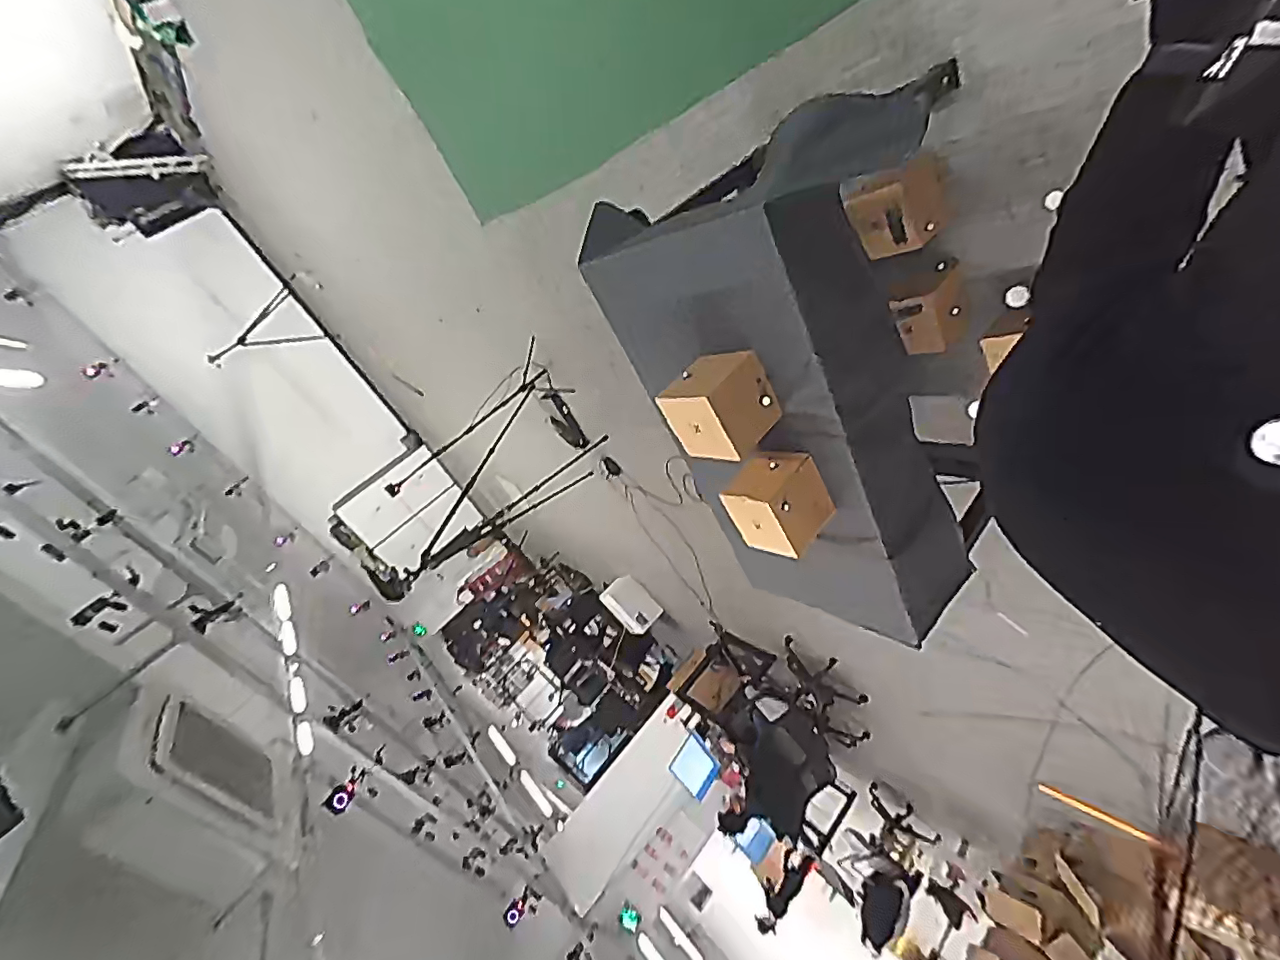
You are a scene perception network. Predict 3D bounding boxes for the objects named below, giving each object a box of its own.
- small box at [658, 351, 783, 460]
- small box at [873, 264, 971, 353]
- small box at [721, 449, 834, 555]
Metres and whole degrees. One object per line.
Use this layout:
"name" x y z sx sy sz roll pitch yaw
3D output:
"small box" 0.179 -0.166 1.193 0.179 0.176 0.168 11 141 55
"small box" 0.789 -0.480 1.509 0.168 0.176 0.179 12 142 54
"small box" 0.334 0.047 1.295 0.168 0.176 0.179 9 138 57
